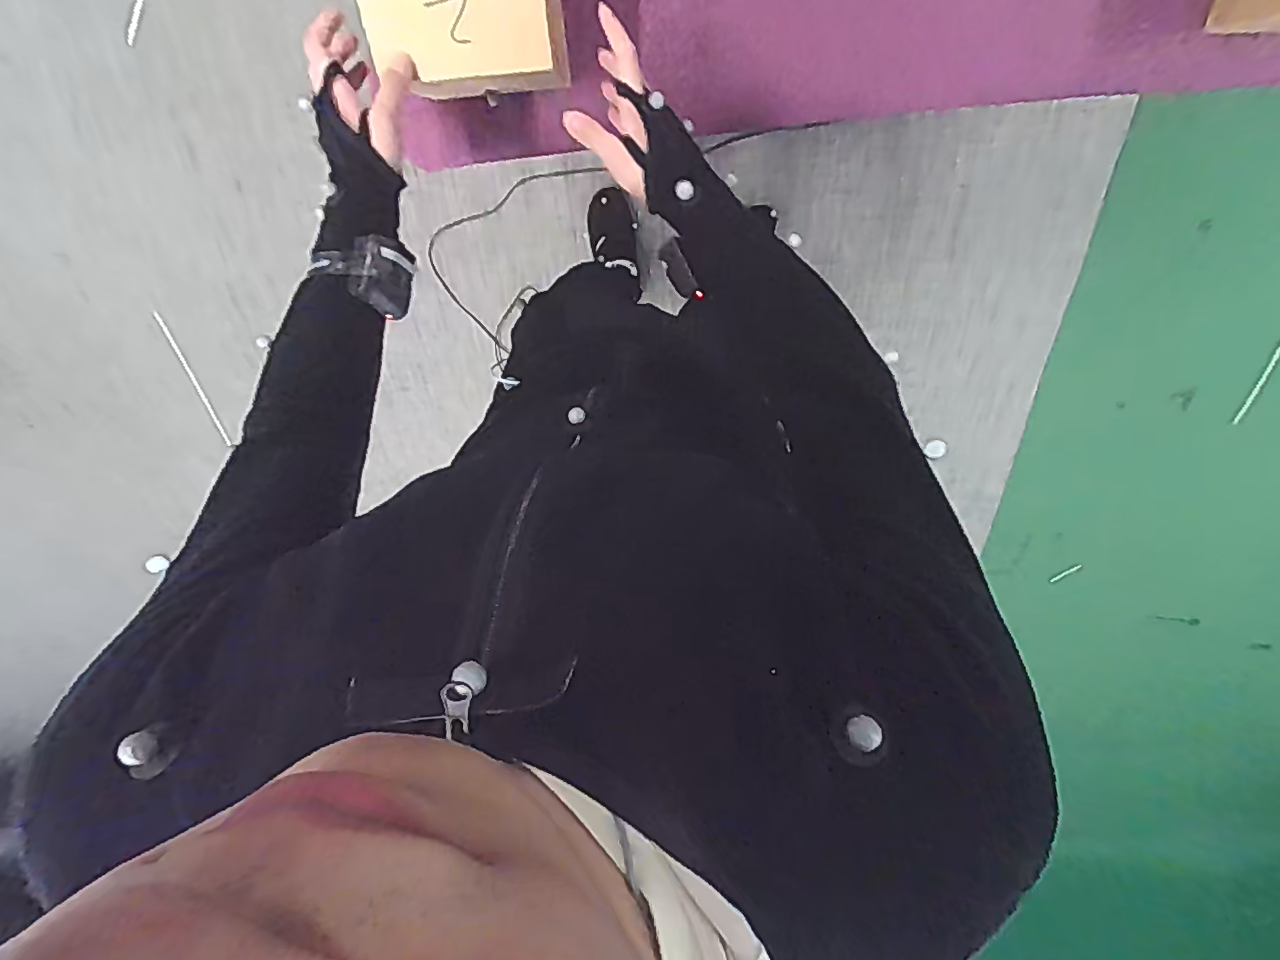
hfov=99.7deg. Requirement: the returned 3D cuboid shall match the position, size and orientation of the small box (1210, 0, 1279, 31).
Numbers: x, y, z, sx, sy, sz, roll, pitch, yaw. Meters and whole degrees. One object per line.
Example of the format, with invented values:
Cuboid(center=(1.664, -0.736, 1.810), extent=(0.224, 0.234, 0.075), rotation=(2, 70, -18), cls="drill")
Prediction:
Cuboid(center=(0.710, -0.527, 0.488), extent=(0.179, 0.176, 0.168), rotation=(0, 121, 1), cls="small box")
